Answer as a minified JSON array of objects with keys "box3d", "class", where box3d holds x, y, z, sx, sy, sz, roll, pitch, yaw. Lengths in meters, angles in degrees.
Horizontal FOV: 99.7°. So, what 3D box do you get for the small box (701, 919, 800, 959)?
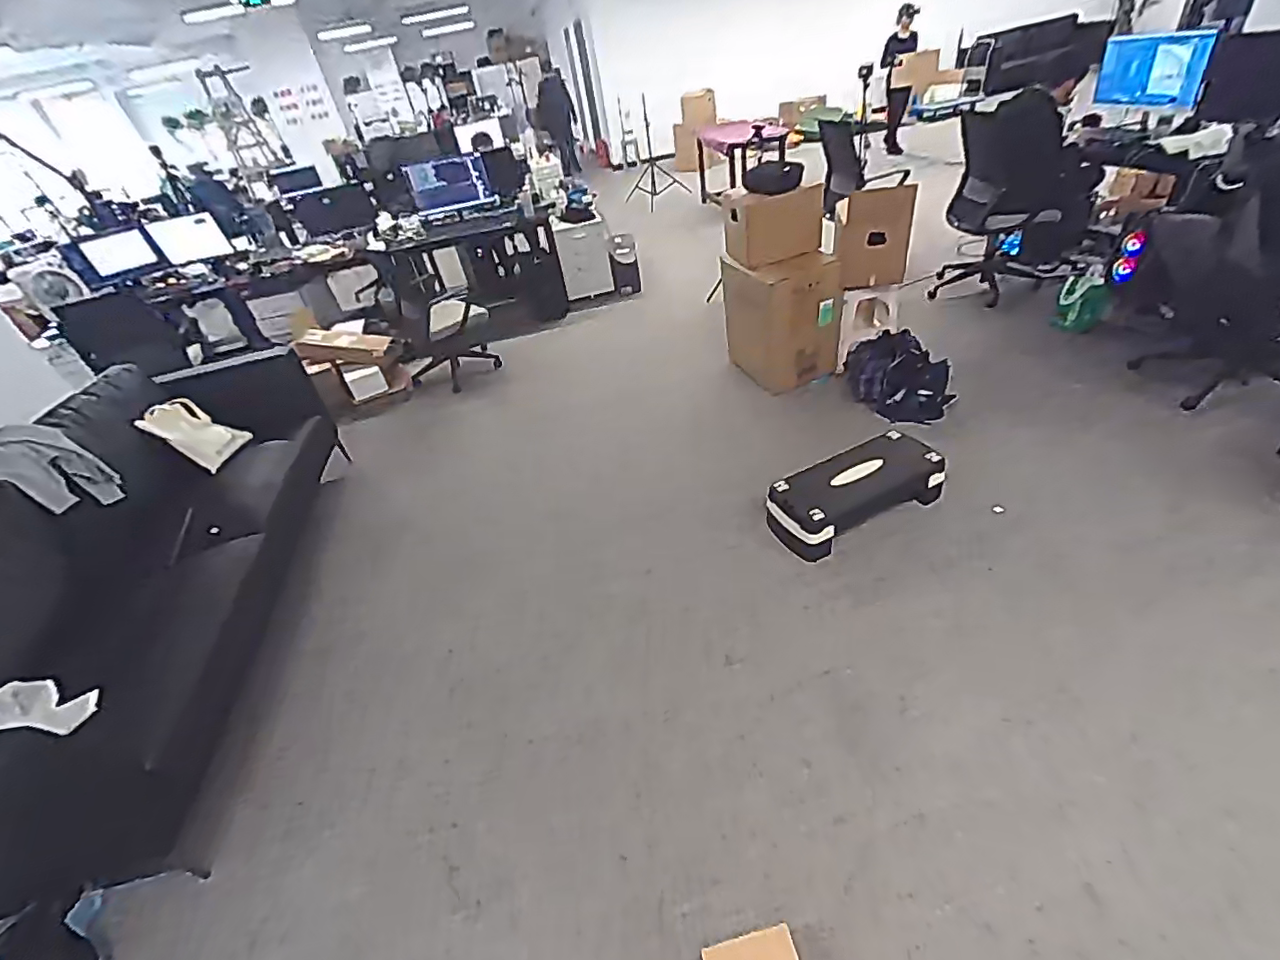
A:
[{"box3d":[0.217,0.926,0.954,0.168,0.176,0.179,-15,37,-5],"class":"small box"}]
